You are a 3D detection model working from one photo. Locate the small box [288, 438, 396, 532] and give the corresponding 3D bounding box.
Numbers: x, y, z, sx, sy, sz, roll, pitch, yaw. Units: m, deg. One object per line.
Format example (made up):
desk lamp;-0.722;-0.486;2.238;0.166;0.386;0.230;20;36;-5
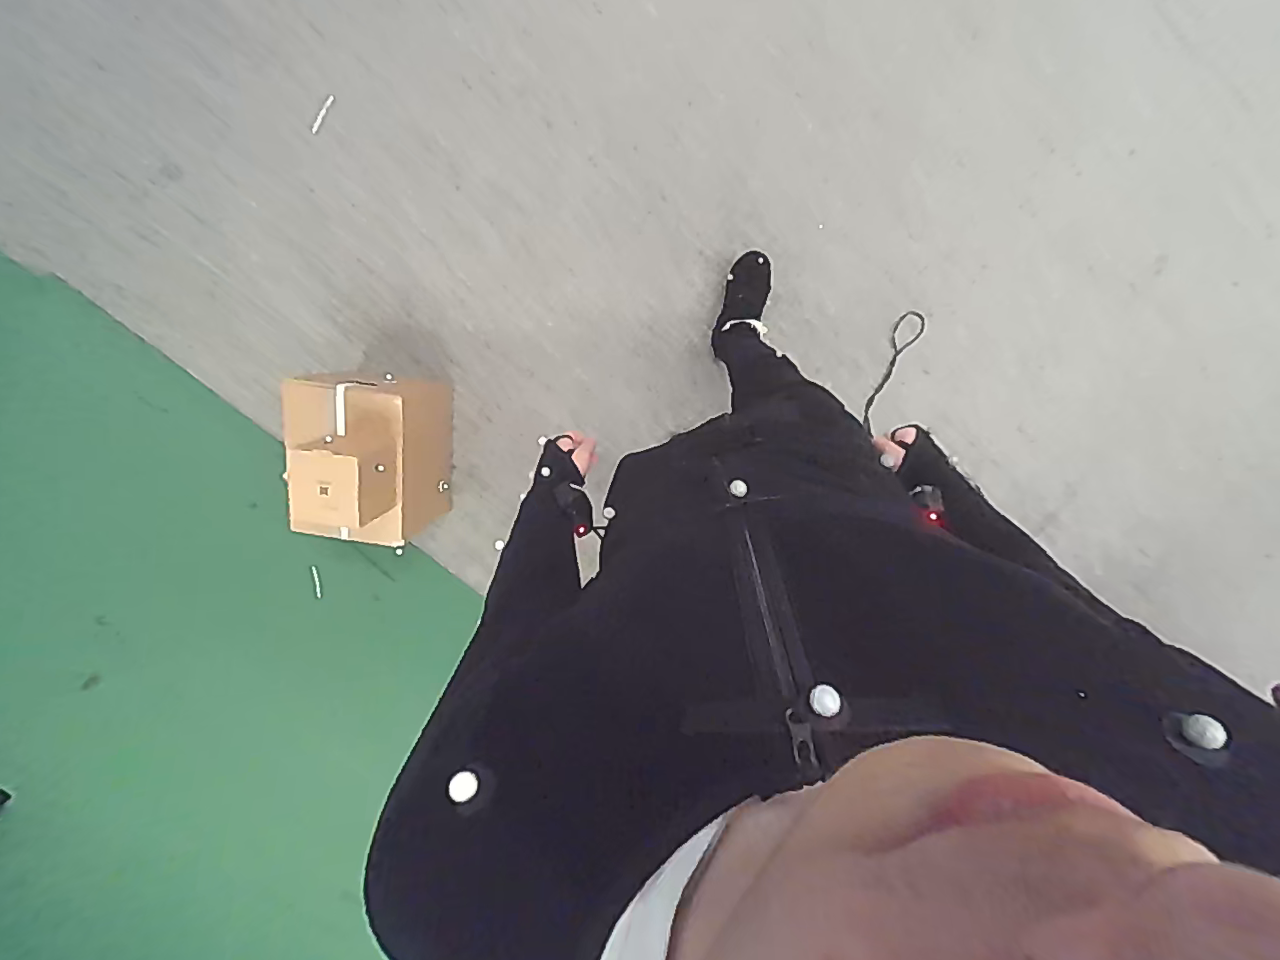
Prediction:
small box;-0.700;0.003;1.285;0.168;0.176;0.179;8;106;2
